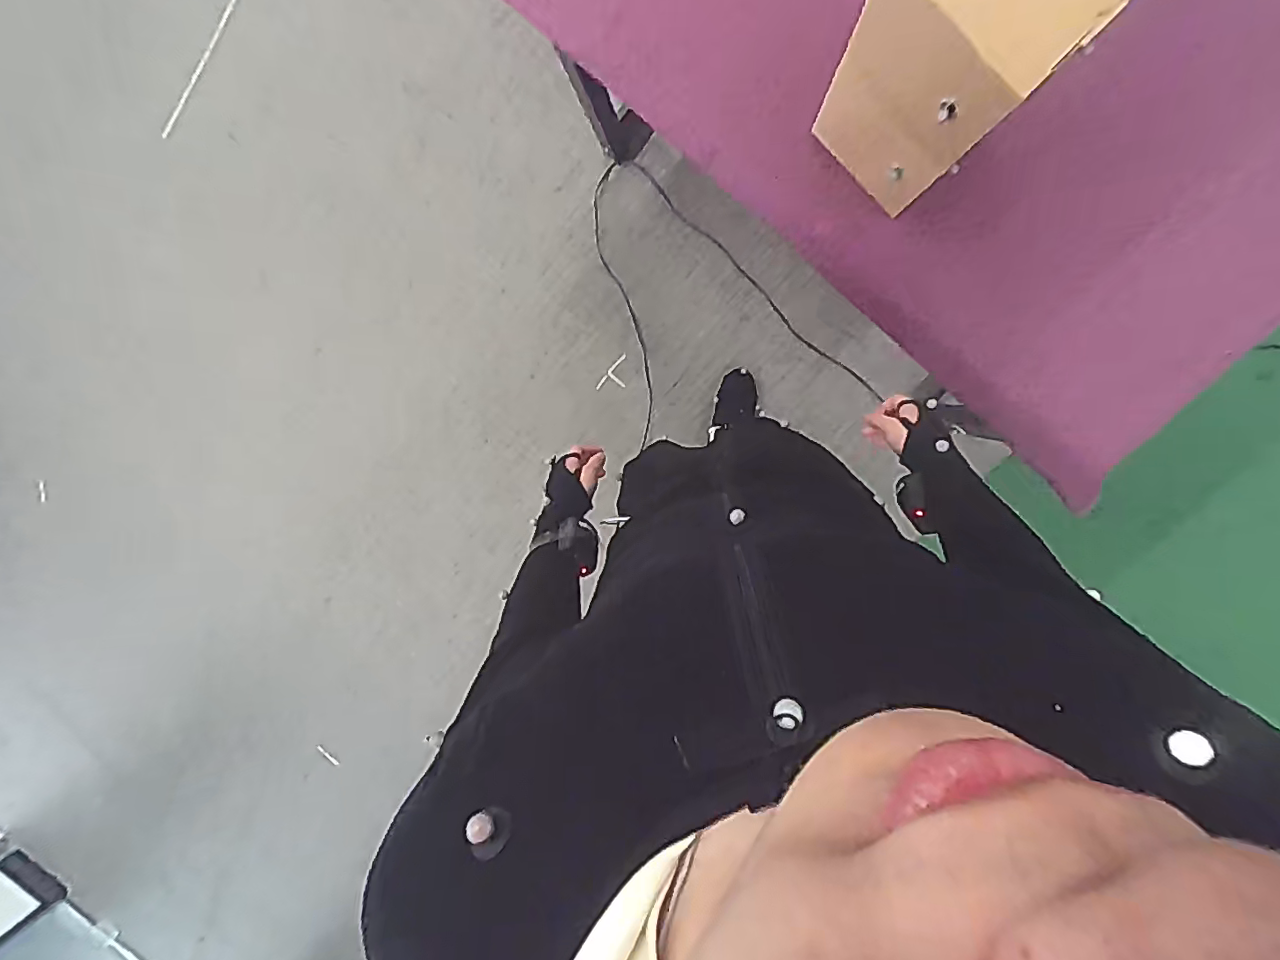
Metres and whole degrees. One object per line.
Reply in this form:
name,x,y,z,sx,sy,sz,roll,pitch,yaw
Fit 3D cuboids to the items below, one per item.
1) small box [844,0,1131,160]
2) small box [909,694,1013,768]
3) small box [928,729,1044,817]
small box,0.334,-0.454,0.530,0.168,0.176,0.179,-44,91,12
small box,0.904,0.759,1.551,0.168,0.176,0.179,42,102,0
small box,0.880,0.791,1.393,0.168,0.176,0.179,39,101,1
